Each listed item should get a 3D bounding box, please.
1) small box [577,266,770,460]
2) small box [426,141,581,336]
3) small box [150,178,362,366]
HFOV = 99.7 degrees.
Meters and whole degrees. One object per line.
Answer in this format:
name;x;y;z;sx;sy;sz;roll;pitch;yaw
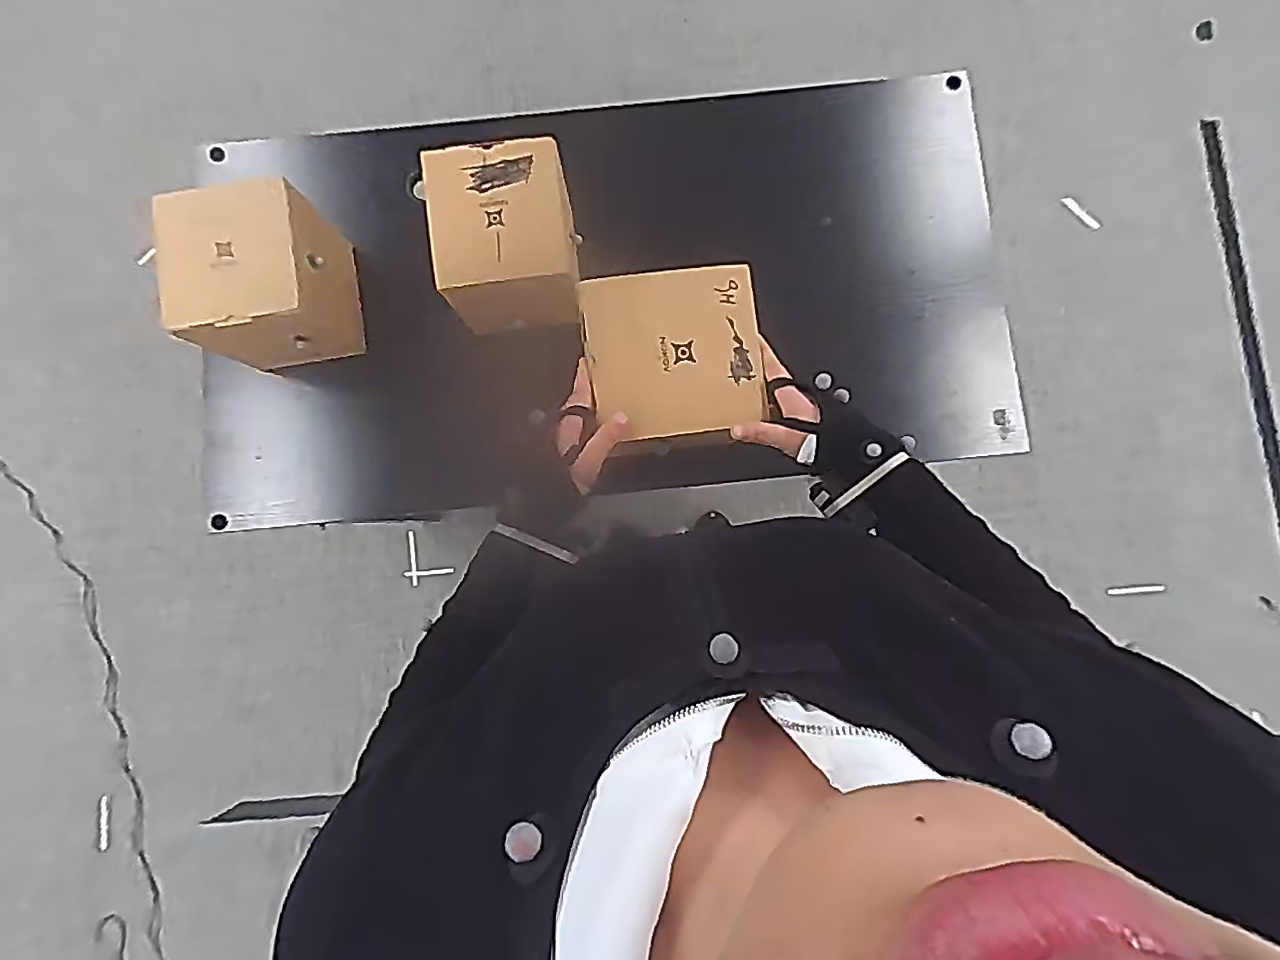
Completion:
small box;0.030;-0.118;0.608;0.179;0.176;0.168;-7;87;-4
small box;-0.172;-0.314;0.732;0.168;0.176;0.179;-7;86;0
small box;-0.501;-0.264;0.729;0.168;0.176;0.179;-10;85;-2
